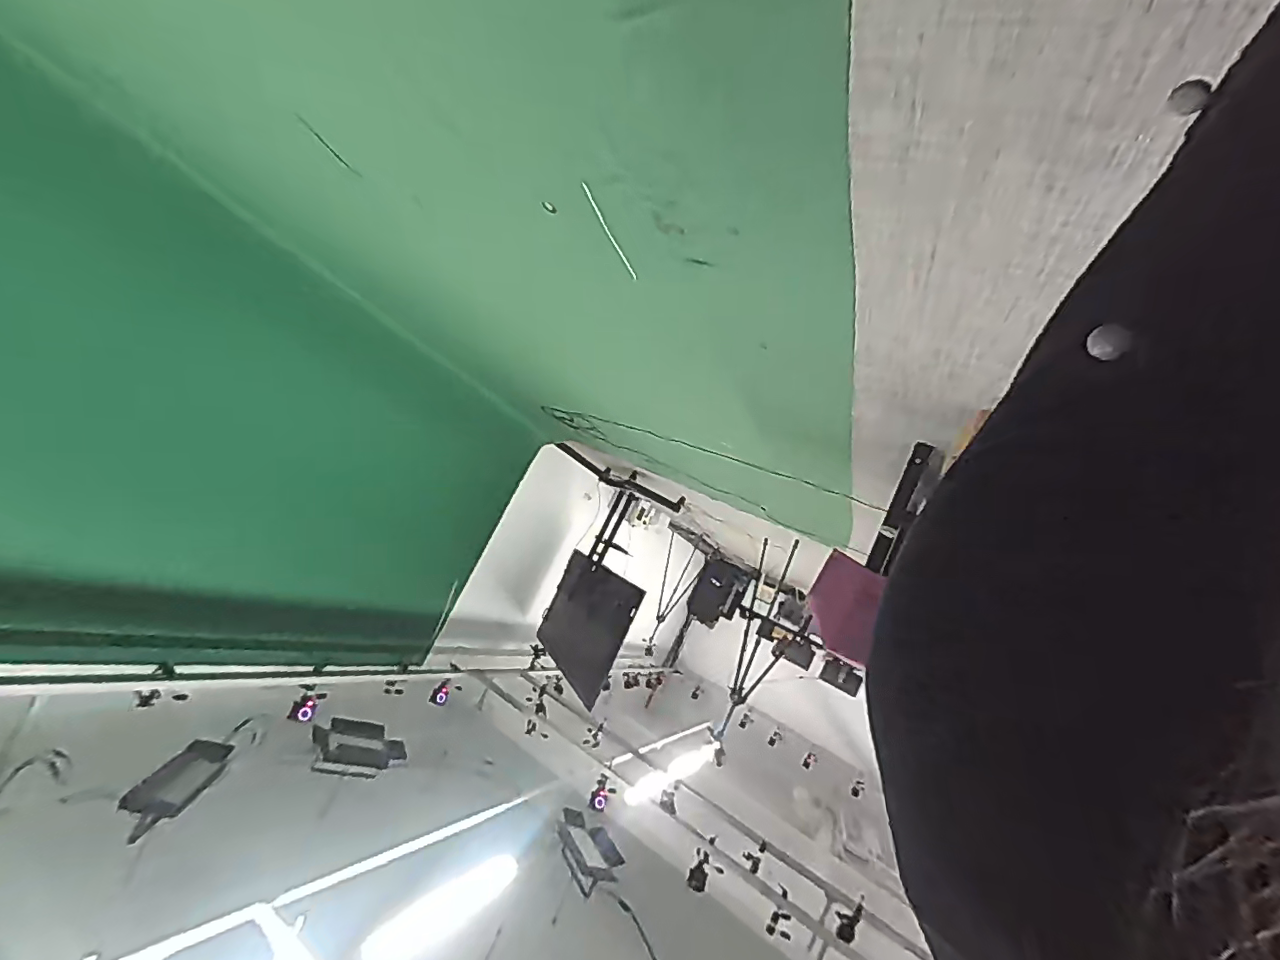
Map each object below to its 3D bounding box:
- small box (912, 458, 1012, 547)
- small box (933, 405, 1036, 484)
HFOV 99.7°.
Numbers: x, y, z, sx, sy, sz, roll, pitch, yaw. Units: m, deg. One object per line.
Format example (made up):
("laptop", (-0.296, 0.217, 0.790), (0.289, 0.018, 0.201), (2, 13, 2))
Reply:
("small box", (0.857, 0.059, 1.443), (0.168, 0.176, 0.179), (24, 171, 21))
("small box", (0.935, -0.084, 1.469), (0.168, 0.176, 0.179), (24, 173, 17))
